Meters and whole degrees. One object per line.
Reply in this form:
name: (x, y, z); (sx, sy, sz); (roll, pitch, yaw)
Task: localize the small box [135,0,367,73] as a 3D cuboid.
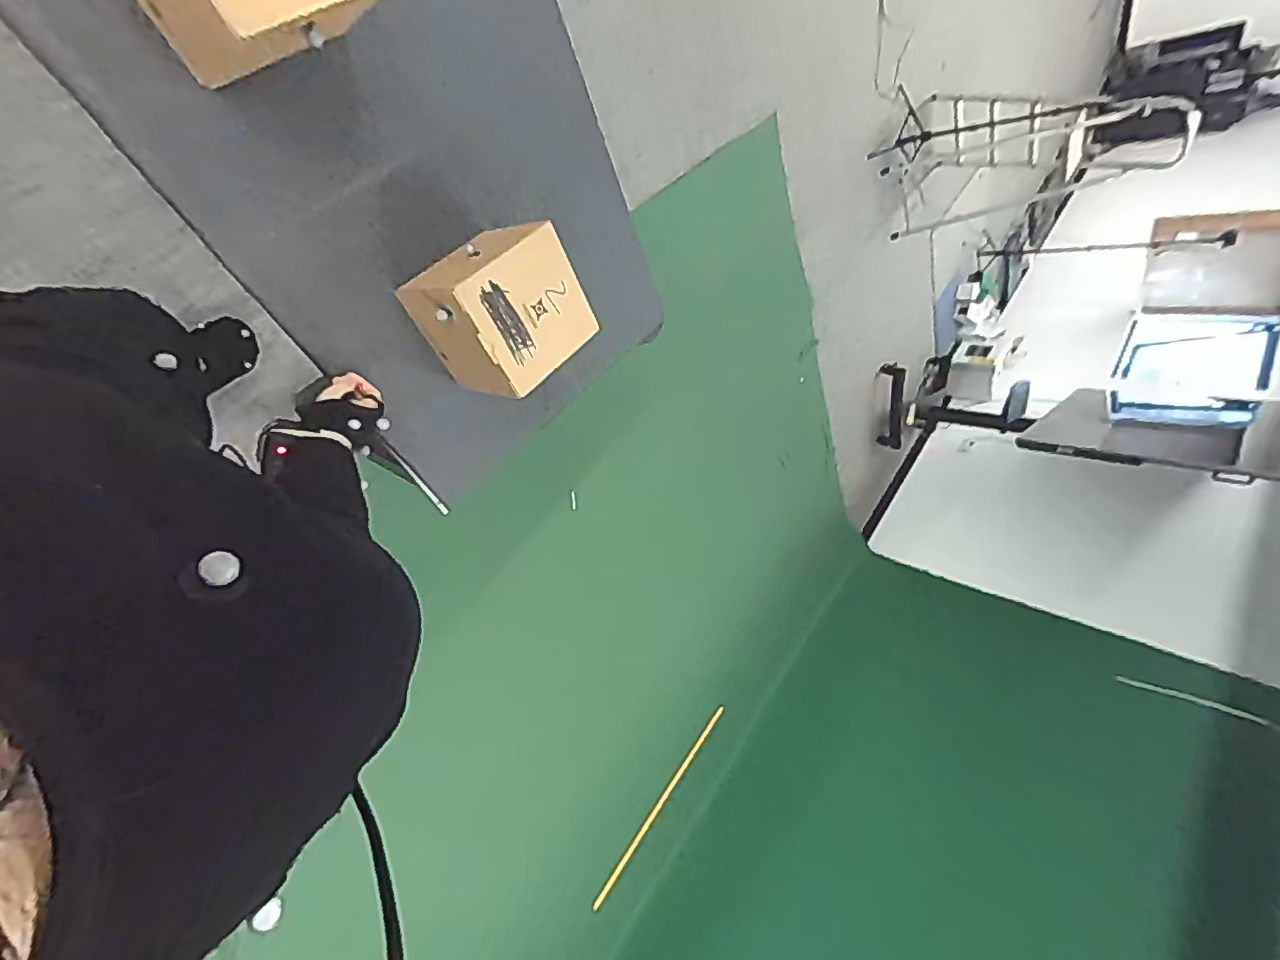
small box: (-0.377, -0.509, 0.492); (0.179, 0.176, 0.168); (-48, 135, -25)
